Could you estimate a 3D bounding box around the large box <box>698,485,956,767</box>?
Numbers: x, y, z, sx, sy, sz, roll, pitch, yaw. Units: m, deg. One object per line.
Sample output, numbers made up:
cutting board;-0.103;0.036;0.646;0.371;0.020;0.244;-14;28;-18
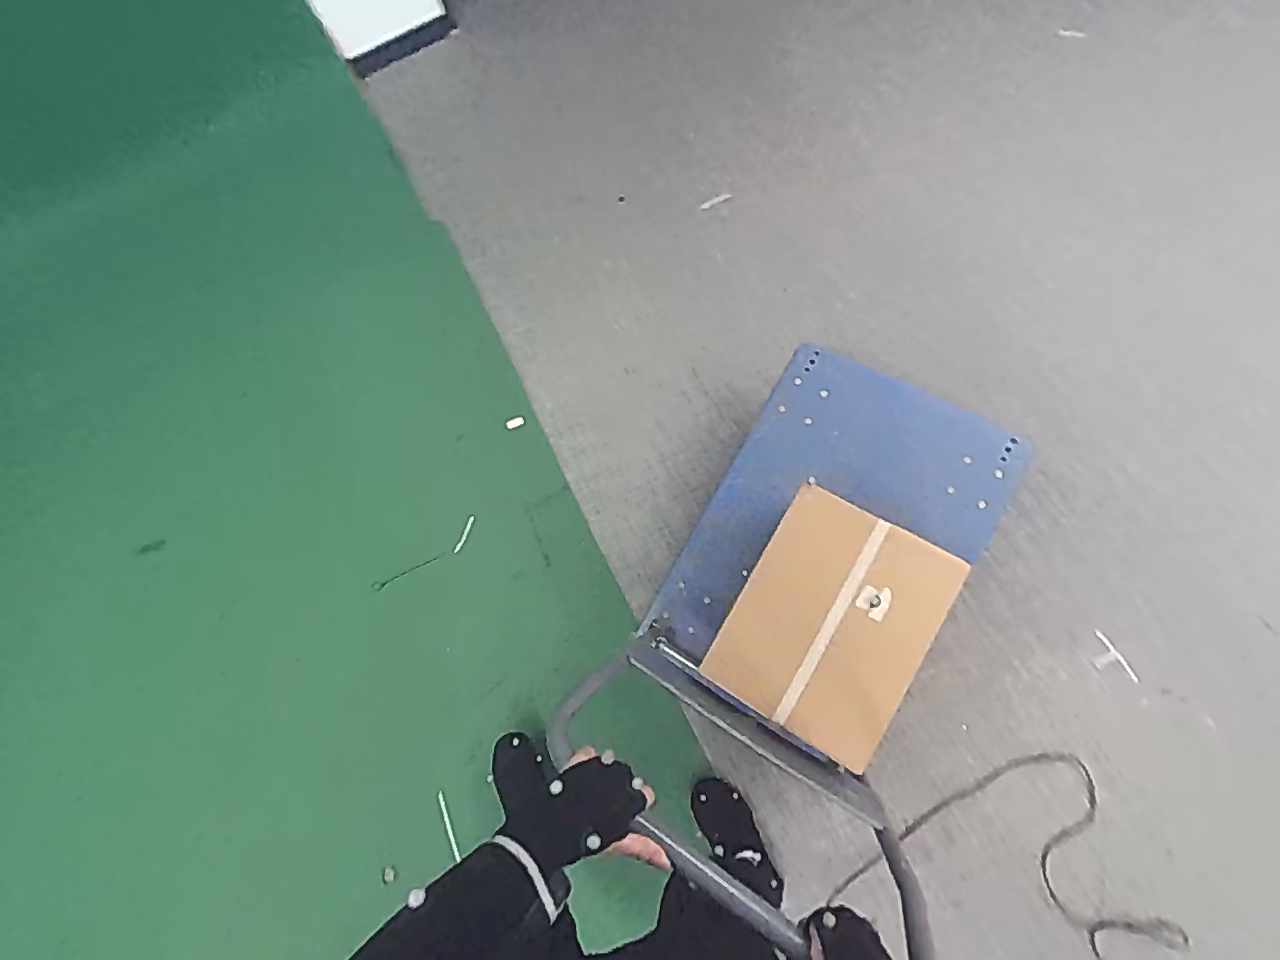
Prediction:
large box;0.358;0.279;1.110;0.320;0.320;0.408;30;86;15
